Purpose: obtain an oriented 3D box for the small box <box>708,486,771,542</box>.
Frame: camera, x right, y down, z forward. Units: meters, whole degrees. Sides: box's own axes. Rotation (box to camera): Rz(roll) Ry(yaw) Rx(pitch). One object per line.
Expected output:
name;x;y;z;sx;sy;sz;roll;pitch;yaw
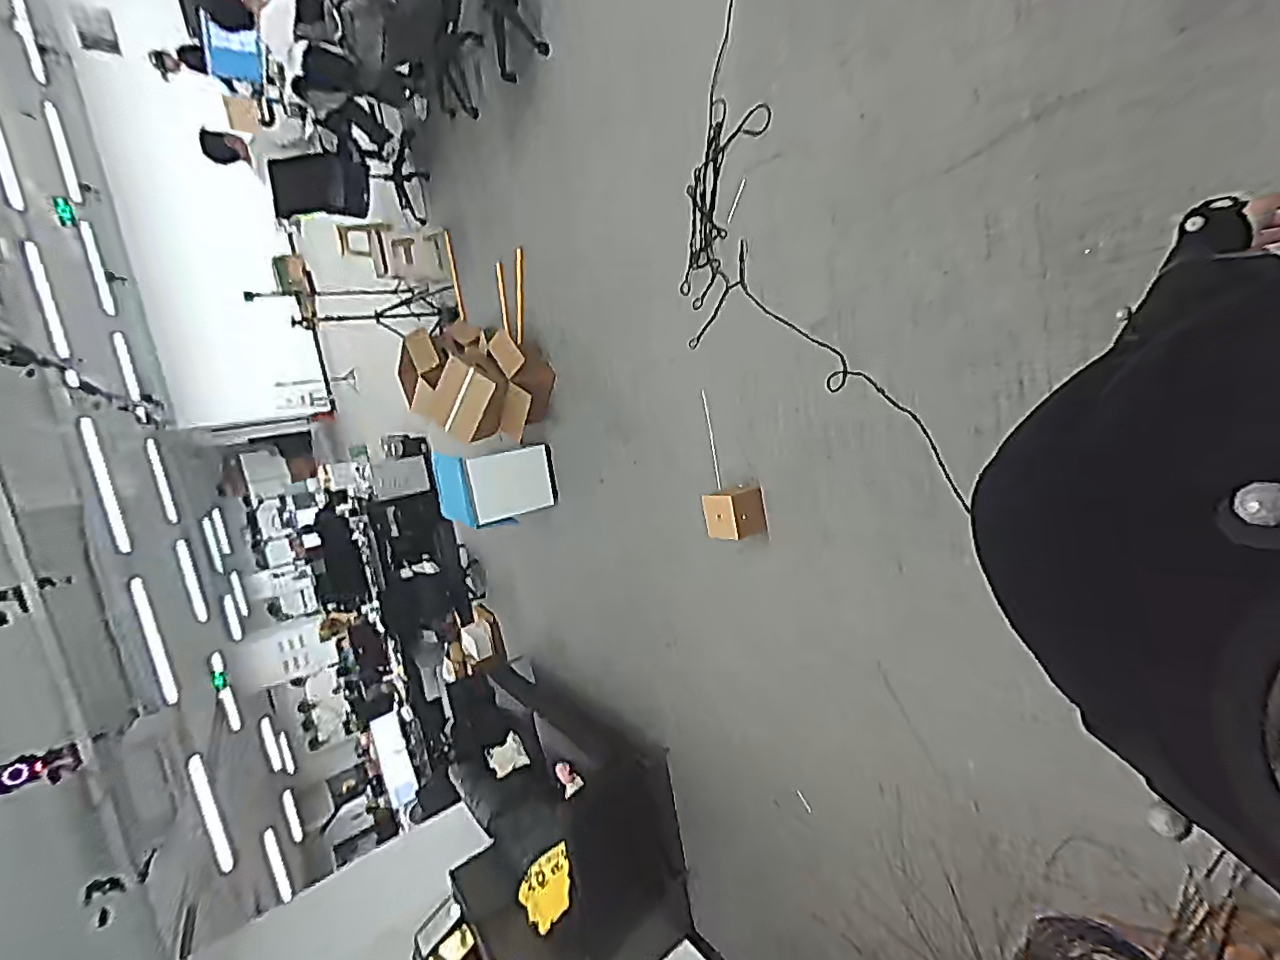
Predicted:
small box;0.394;0.129;2.122;0.168;0.176;0.179;-1;102;55
